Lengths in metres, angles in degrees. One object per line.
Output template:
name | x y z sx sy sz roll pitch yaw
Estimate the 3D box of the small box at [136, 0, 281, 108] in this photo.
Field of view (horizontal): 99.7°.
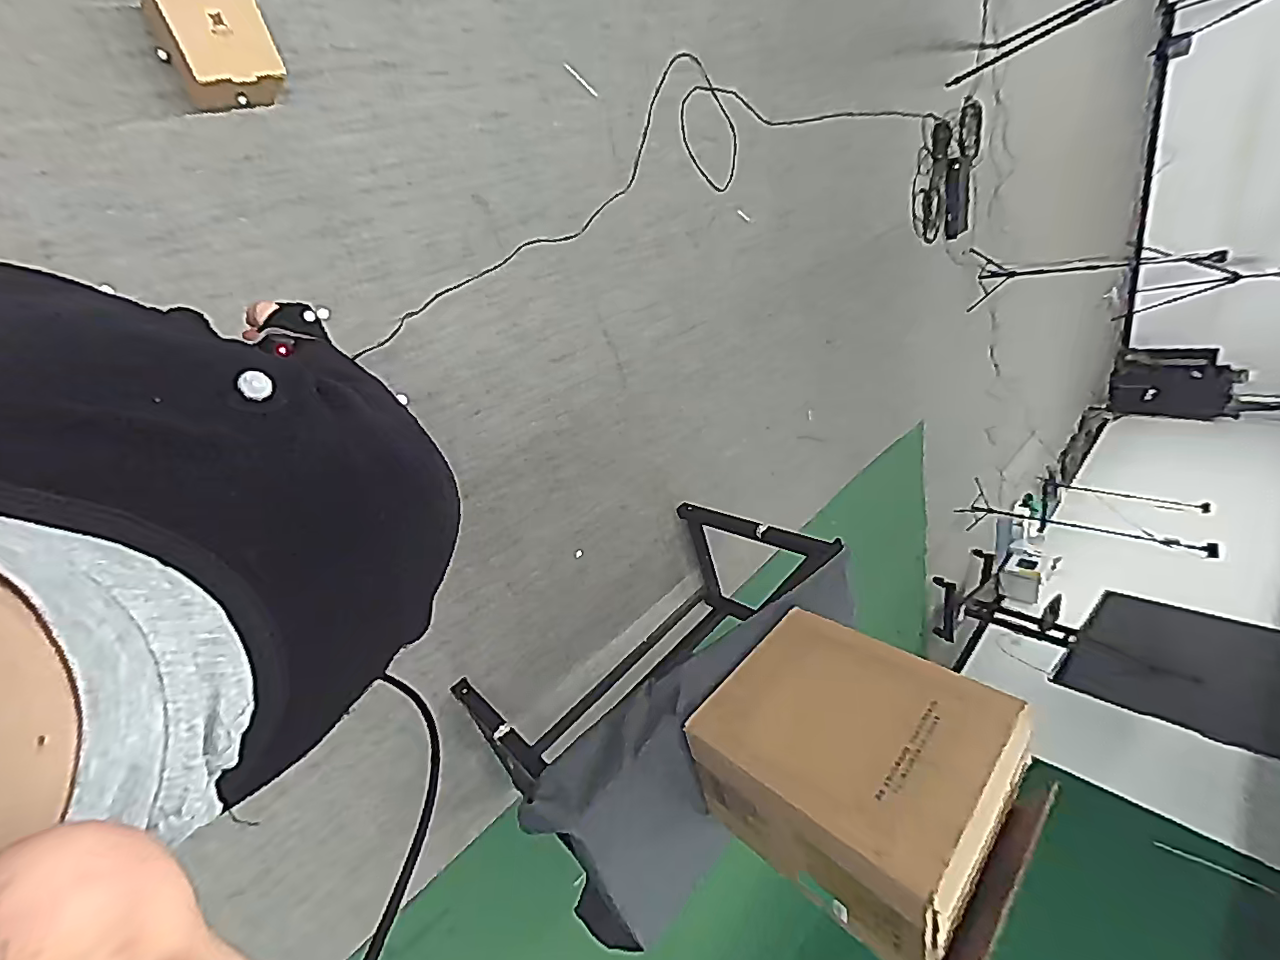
small box | -0.862 -0.871 1.084 0.168 0.176 0.179 -34 121 -32
